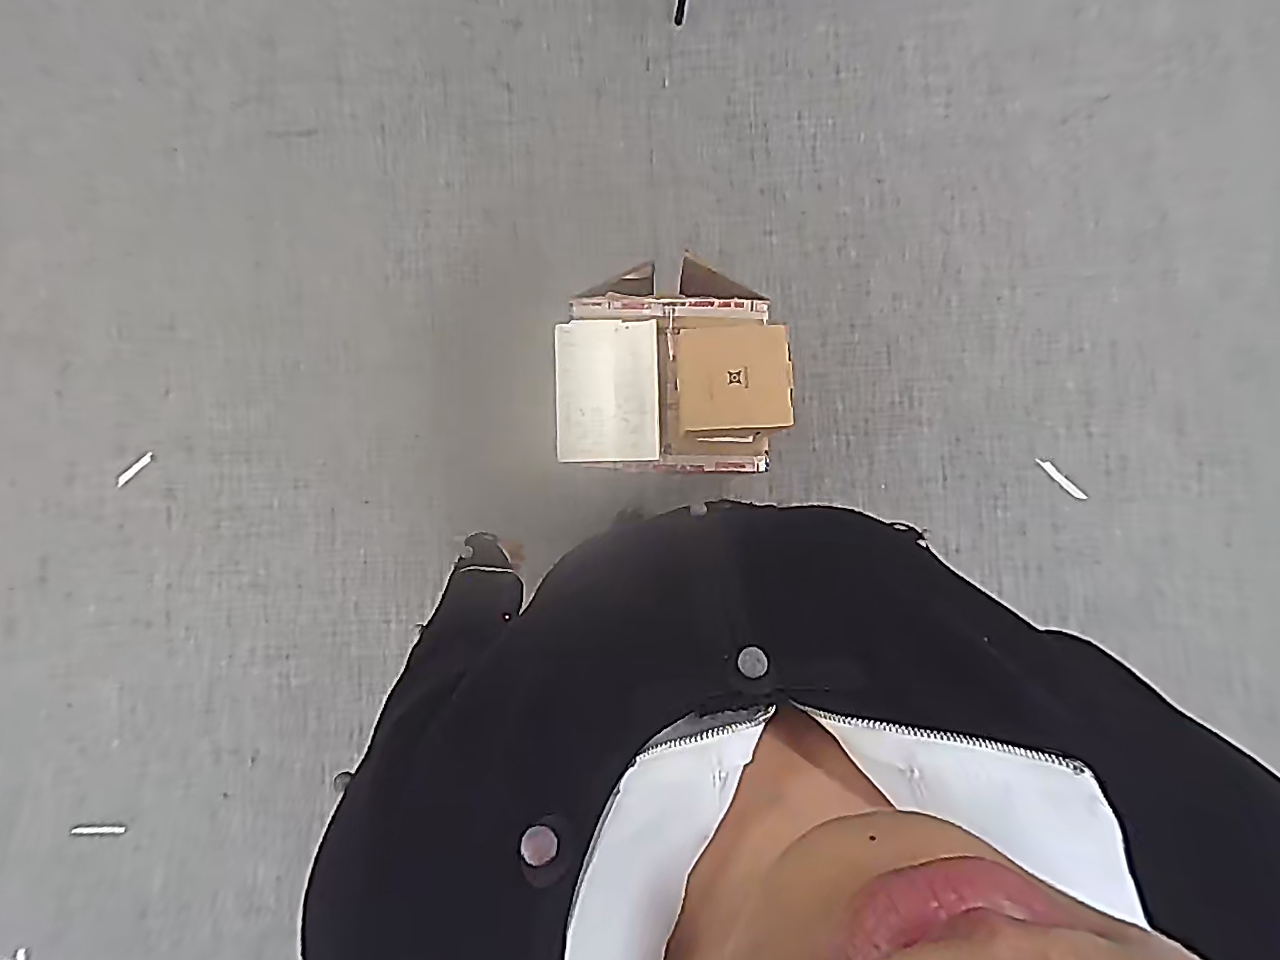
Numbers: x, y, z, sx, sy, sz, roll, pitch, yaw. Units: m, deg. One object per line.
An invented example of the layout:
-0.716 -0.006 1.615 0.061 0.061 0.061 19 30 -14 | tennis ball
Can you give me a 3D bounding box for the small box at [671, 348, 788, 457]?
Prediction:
0.151 -0.130 0.959 0.179 0.176 0.168 -4 89 0 | small box
